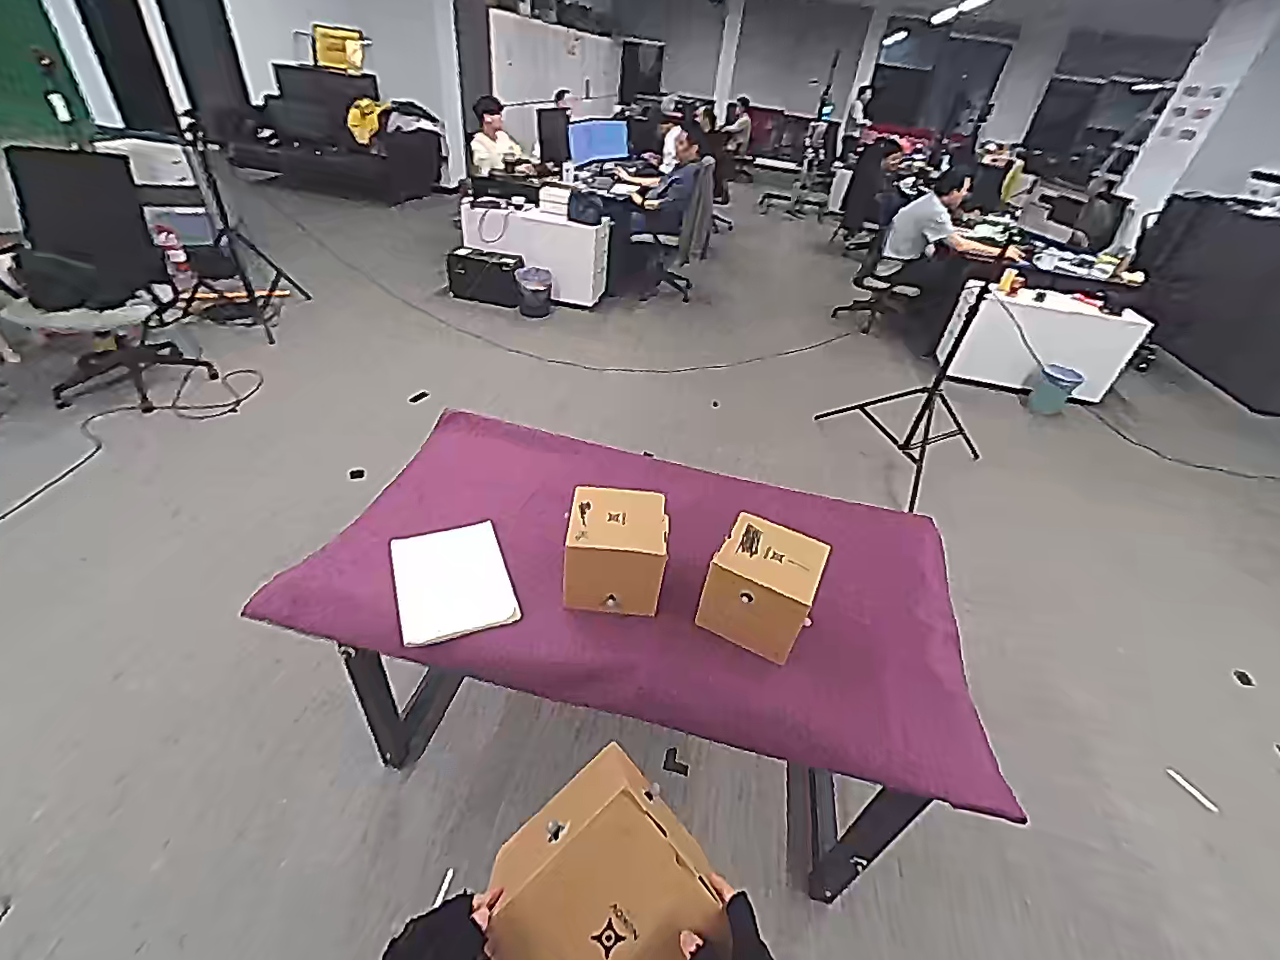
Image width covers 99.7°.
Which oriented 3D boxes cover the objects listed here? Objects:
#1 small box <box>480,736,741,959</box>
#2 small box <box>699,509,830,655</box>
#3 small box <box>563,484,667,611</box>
[{"bbox_3d":[-0.033,0.396,0.550,0.179,0.176,0.168,-40,84,-13],"label":"small box"},{"bbox_3d":[0.224,0.188,0.997,0.179,0.176,0.168,22,39,18],"label":"small box"},{"bbox_3d":[-0.048,0.131,1.031,0.179,0.176,0.168,6,36,-3],"label":"small box"}]
